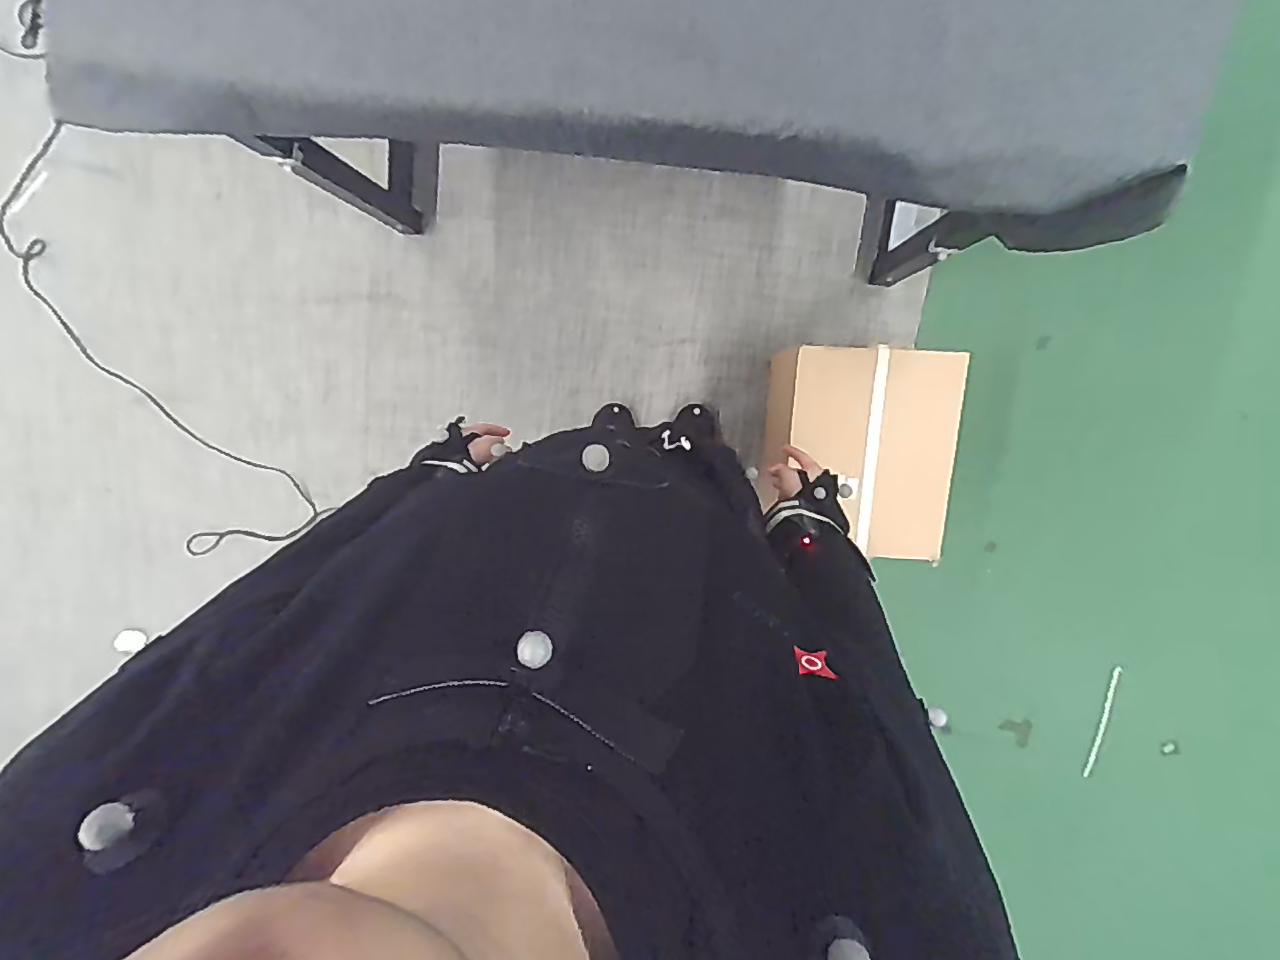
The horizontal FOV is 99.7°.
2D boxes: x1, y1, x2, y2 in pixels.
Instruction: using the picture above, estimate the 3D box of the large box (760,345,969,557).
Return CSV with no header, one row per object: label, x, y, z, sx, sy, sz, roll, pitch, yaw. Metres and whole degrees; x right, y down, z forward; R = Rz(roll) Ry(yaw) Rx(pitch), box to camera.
large box,0.452,-0.079,1.173,0.320,0.320,0.408,3,101,3
